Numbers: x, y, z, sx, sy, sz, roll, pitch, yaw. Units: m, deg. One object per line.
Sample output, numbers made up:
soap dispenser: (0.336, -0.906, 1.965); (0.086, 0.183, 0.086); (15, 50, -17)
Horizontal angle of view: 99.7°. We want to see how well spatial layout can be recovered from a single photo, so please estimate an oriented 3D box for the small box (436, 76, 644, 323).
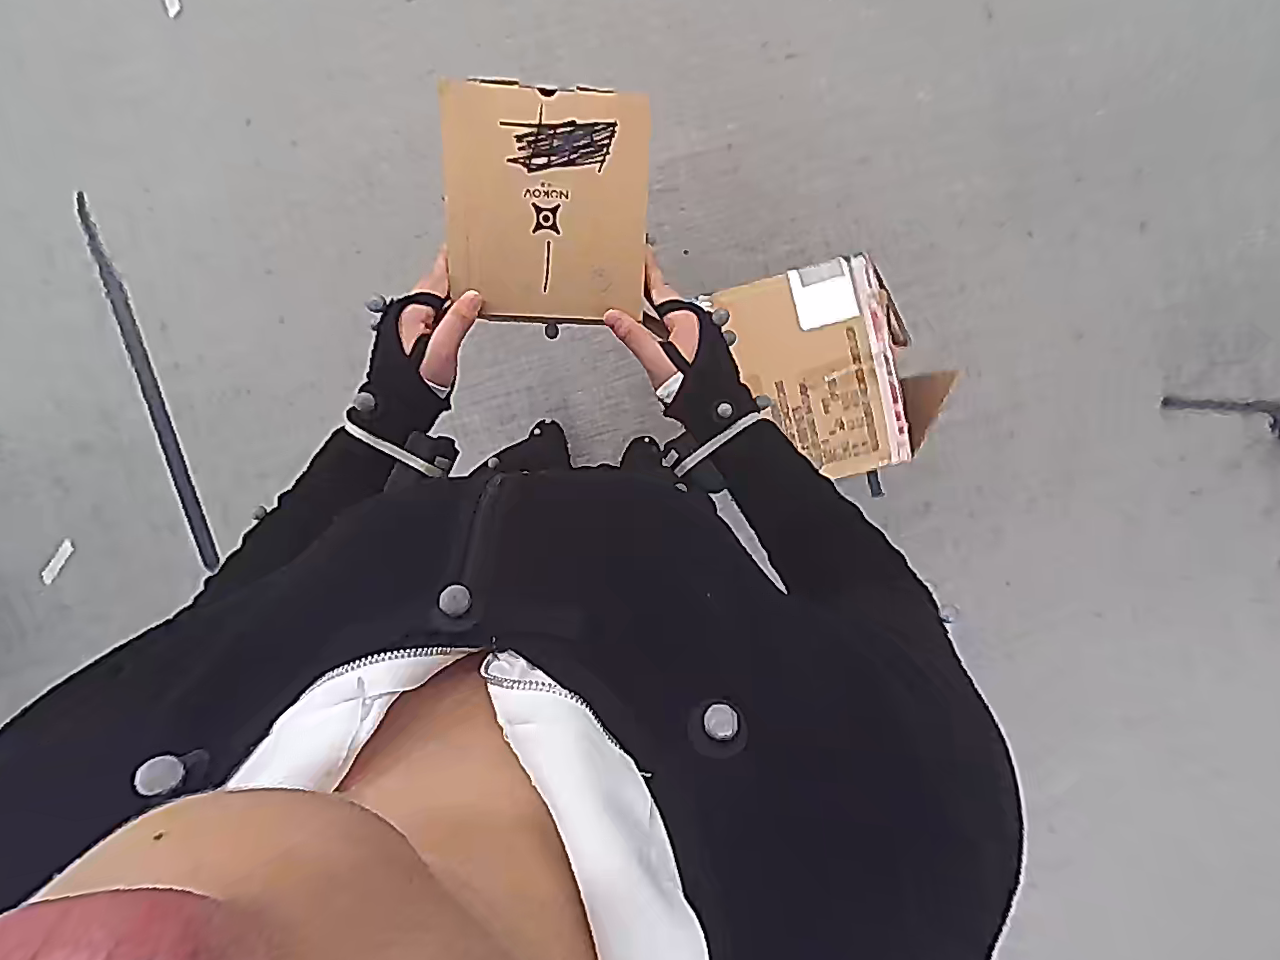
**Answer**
small box: (-0.087, -0.248, 0.522); (0.168, 0.176, 0.179); (0, 105, -4)
